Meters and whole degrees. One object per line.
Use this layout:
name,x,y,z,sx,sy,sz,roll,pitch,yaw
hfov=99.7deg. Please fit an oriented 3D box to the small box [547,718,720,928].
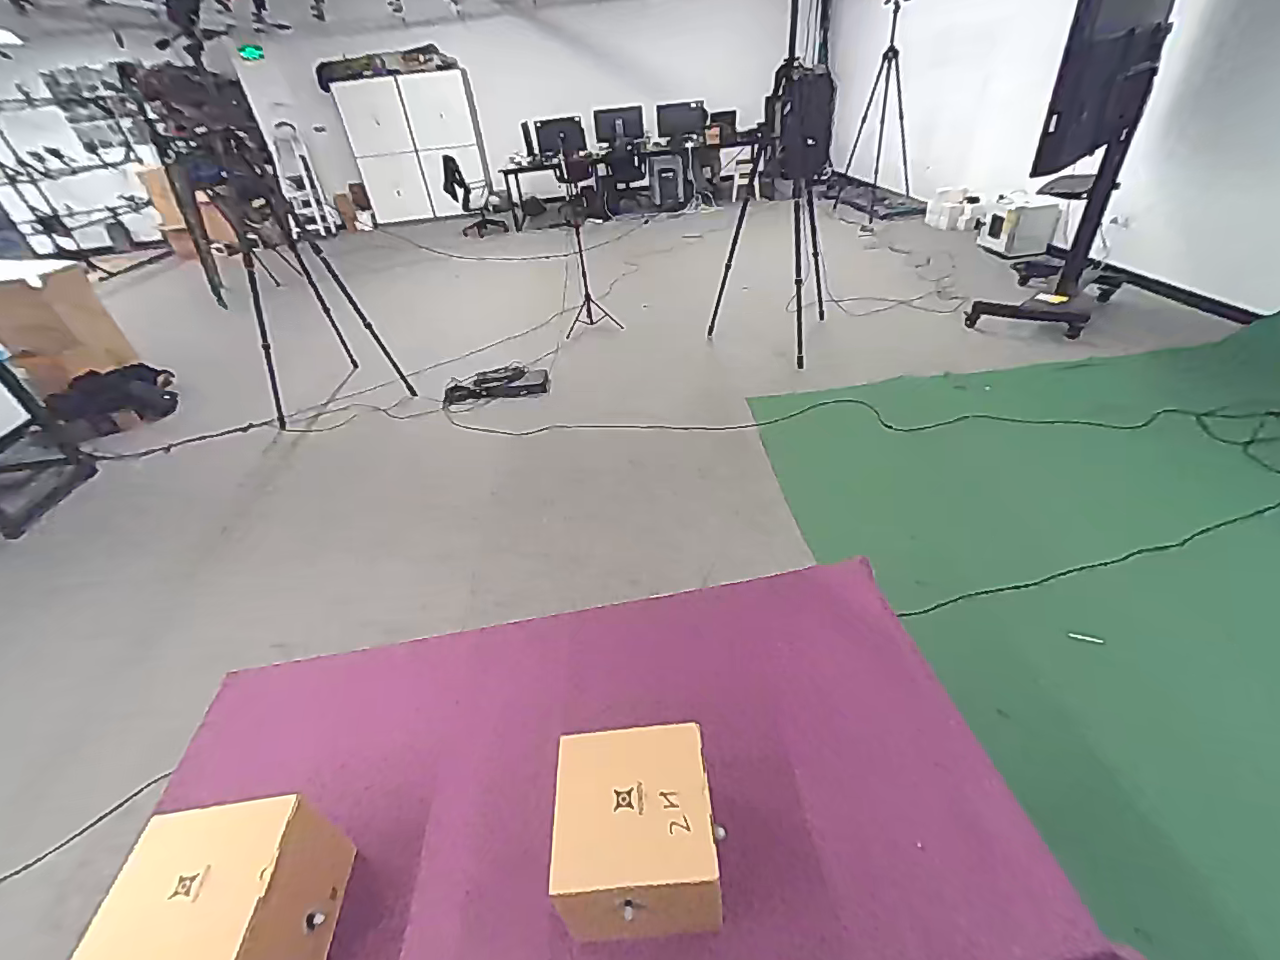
small box,-0.002,0.417,0.657,0.179,0.176,0.168,-6,37,2

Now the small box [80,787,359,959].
small box,-0.473,0.498,0.639,0.179,0.176,0.168,-8,36,-2
